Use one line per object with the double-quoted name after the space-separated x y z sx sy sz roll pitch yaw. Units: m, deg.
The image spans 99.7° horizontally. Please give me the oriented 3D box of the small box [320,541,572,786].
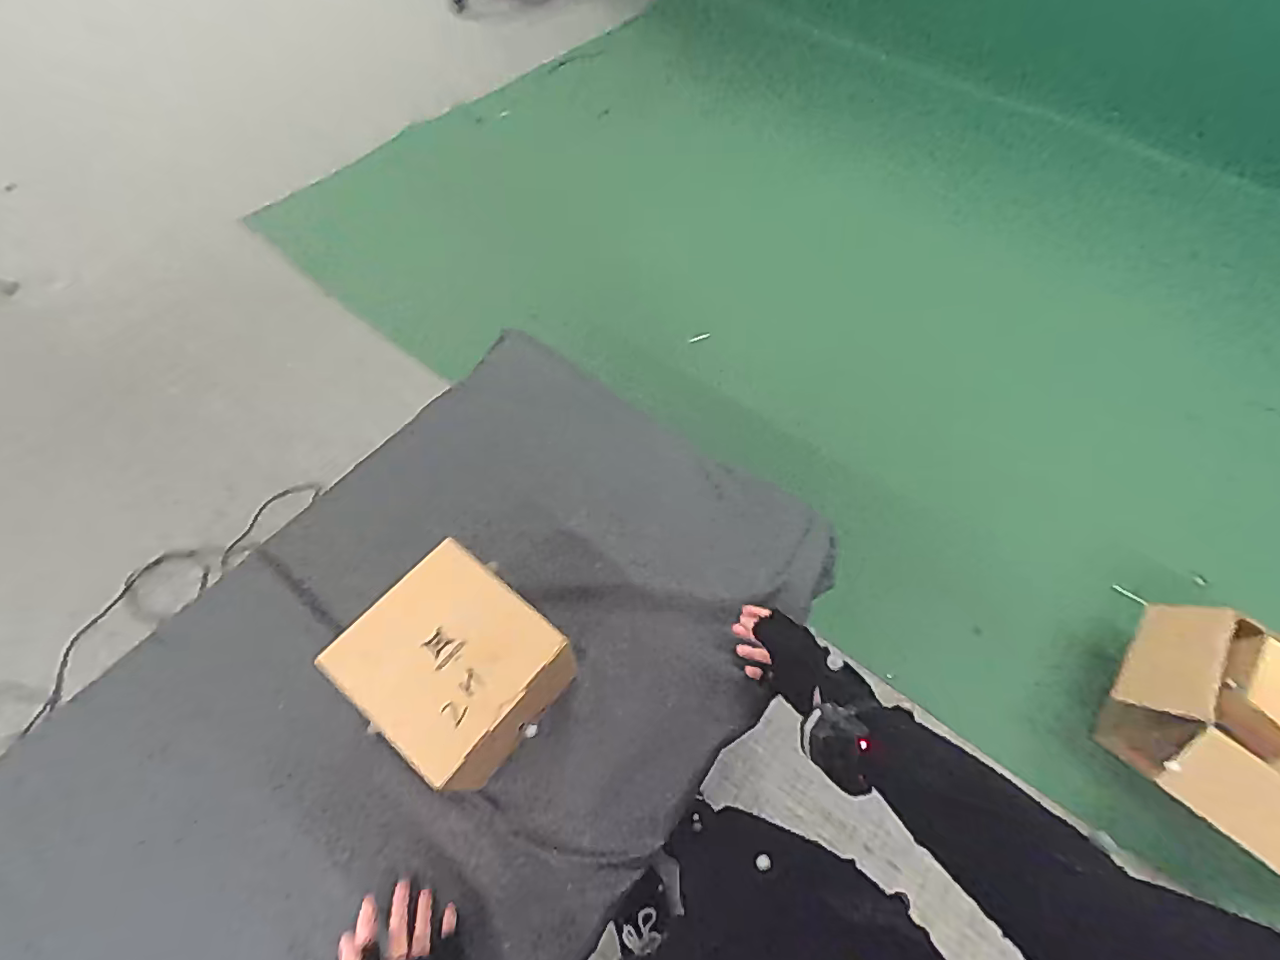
-0.192 0.204 0.586 0.179 0.176 0.168 36 65 16 "small box"
